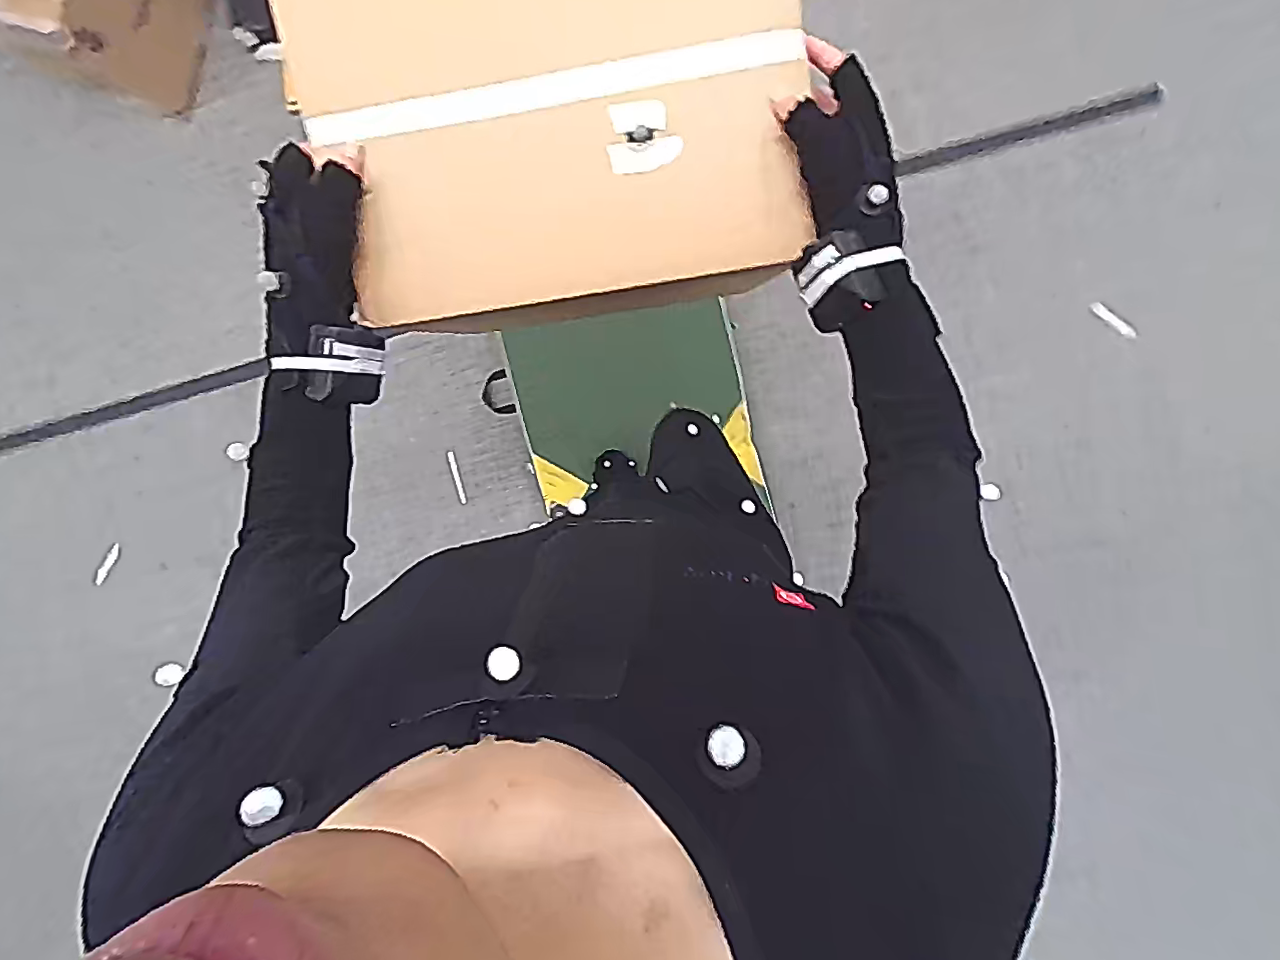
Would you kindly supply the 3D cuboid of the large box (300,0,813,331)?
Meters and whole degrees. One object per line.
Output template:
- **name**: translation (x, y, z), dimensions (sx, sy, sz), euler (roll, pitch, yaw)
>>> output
- **large box**: translation (-0.067, -0.358, 0.598), dimensions (0.408, 0.320, 0.320), euler (-9, 104, 2)
